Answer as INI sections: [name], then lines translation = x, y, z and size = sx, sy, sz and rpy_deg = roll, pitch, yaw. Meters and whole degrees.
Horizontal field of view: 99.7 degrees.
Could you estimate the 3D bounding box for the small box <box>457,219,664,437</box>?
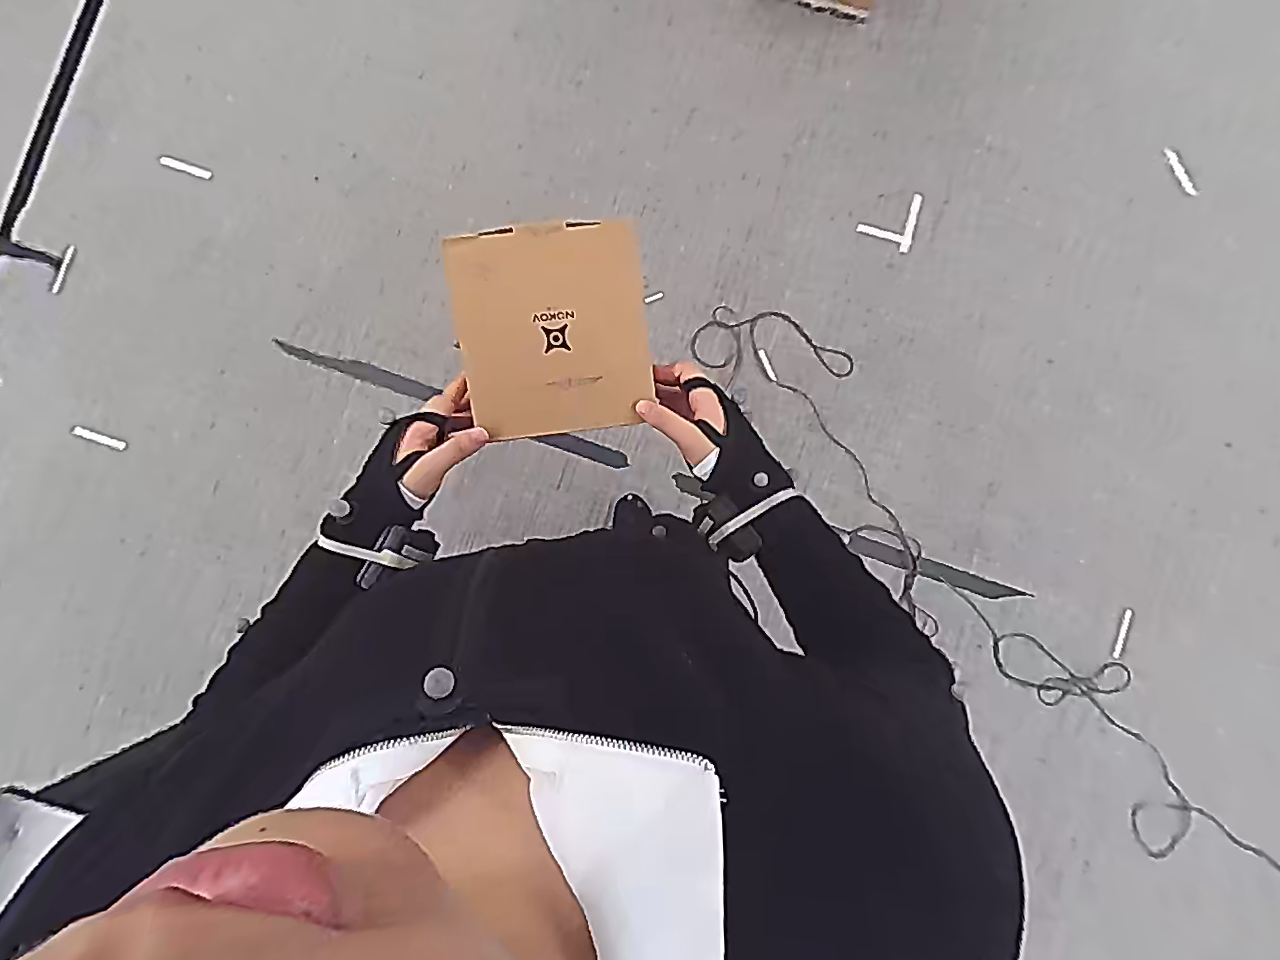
[small box]
translation = -0.074, -0.146, 0.549
size = 0.168, 0.176, 0.179
rpy_deg = -7, 103, -4
